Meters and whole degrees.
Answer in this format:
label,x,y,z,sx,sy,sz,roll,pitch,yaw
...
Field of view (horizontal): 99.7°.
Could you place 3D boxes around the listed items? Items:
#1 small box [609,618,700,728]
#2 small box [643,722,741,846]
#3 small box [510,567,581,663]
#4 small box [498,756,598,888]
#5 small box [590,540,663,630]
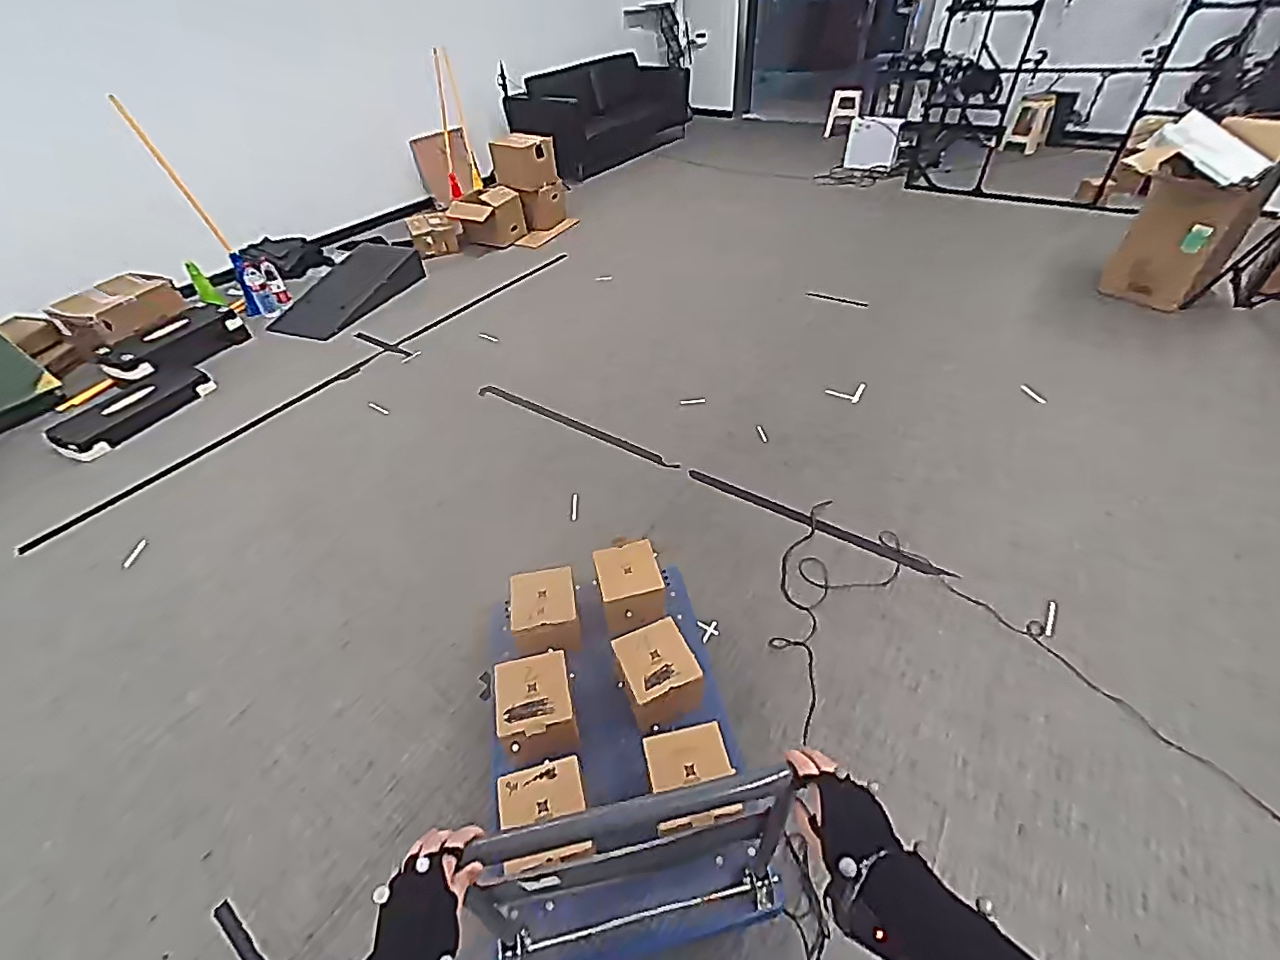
label,x,y,z,sx,sy,sz,roll,pitch,yaw
small box,0.037,0.480,1.328,0.168,0.176,0.179,-19,45,-16
small box,0.105,0.648,1.146,0.168,0.176,0.179,-9,43,-7
small box,-0.255,0.365,1.465,0.168,0.176,0.179,-9,44,-6
small box,-0.186,0.703,1.104,0.168,0.176,0.179,-12,44,-10
small box,-0.036,0.302,1.522,0.168,0.176,0.179,-12,44,-9
